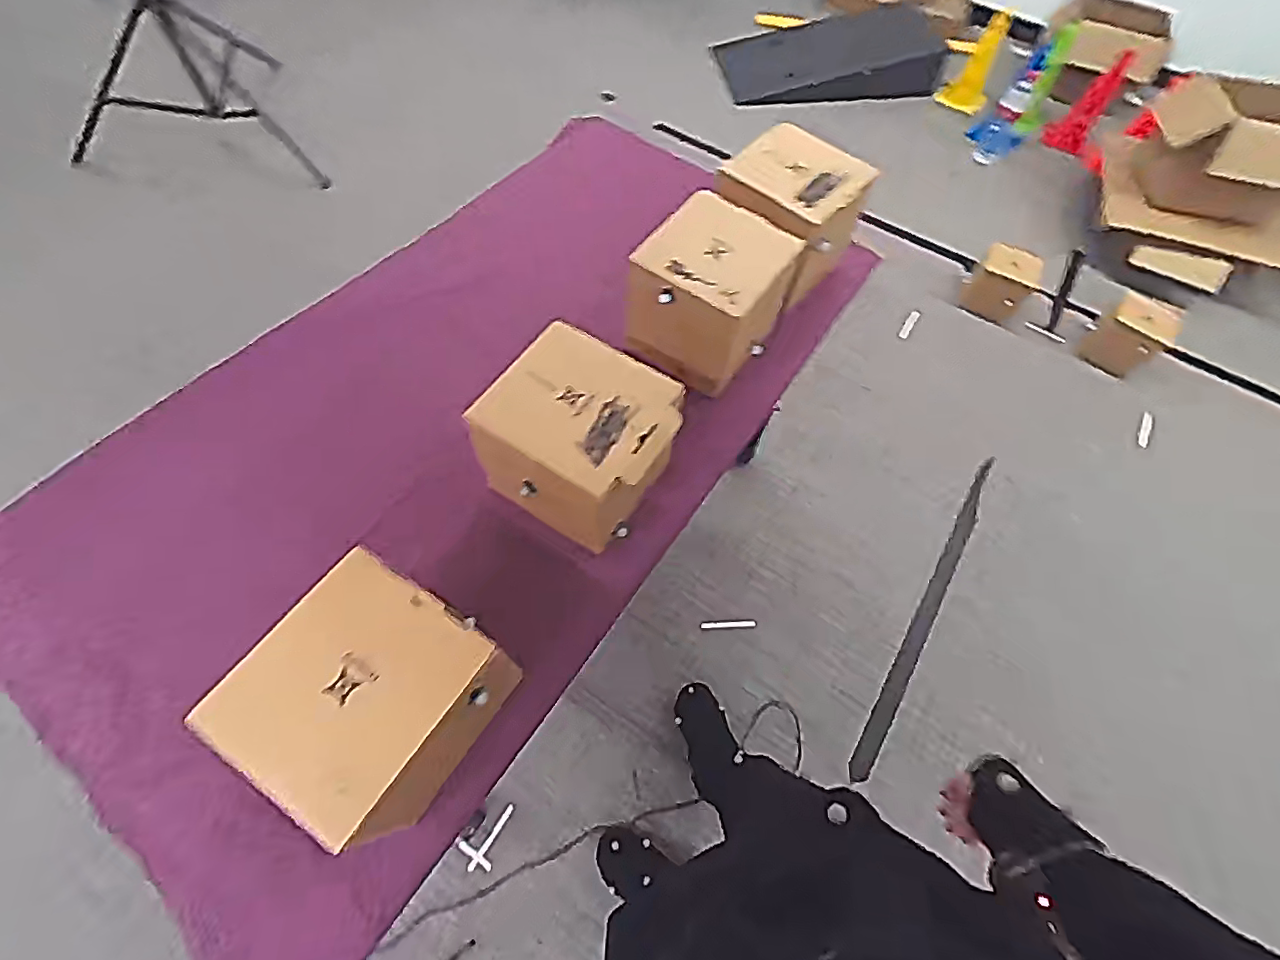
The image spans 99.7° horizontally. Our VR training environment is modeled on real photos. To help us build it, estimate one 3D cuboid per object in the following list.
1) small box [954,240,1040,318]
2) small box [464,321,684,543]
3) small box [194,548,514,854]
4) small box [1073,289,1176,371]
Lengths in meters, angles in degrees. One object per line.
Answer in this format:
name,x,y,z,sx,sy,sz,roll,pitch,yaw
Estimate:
small box,1.244,-0.695,1.889,0.179,0.176,0.168,26,63,10
small box,-0.071,-0.045,0.640,0.179,0.176,0.168,30,65,11
small box,-0.237,0.200,0.505,0.168,0.176,0.179,31,65,11
small box,1.620,-0.494,1.813,0.179,0.176,0.168,36,66,13
